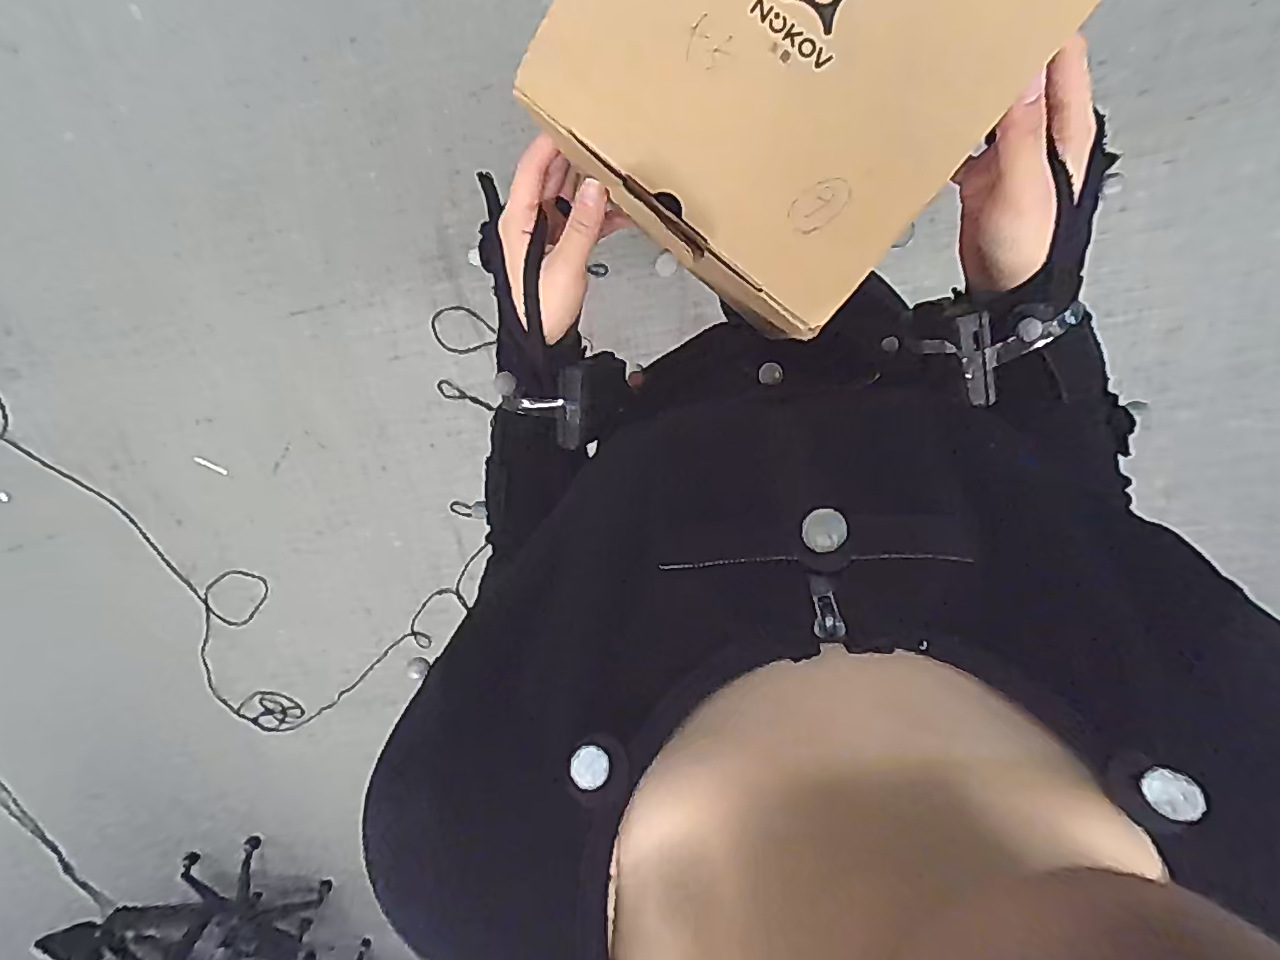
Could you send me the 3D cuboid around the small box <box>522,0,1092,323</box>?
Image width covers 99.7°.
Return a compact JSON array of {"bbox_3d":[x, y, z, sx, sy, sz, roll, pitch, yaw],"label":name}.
[{"bbox_3d":[0.075,-0.201,0.284,0.168,0.176,0.179,39,108,-3],"label":"small box"}]
